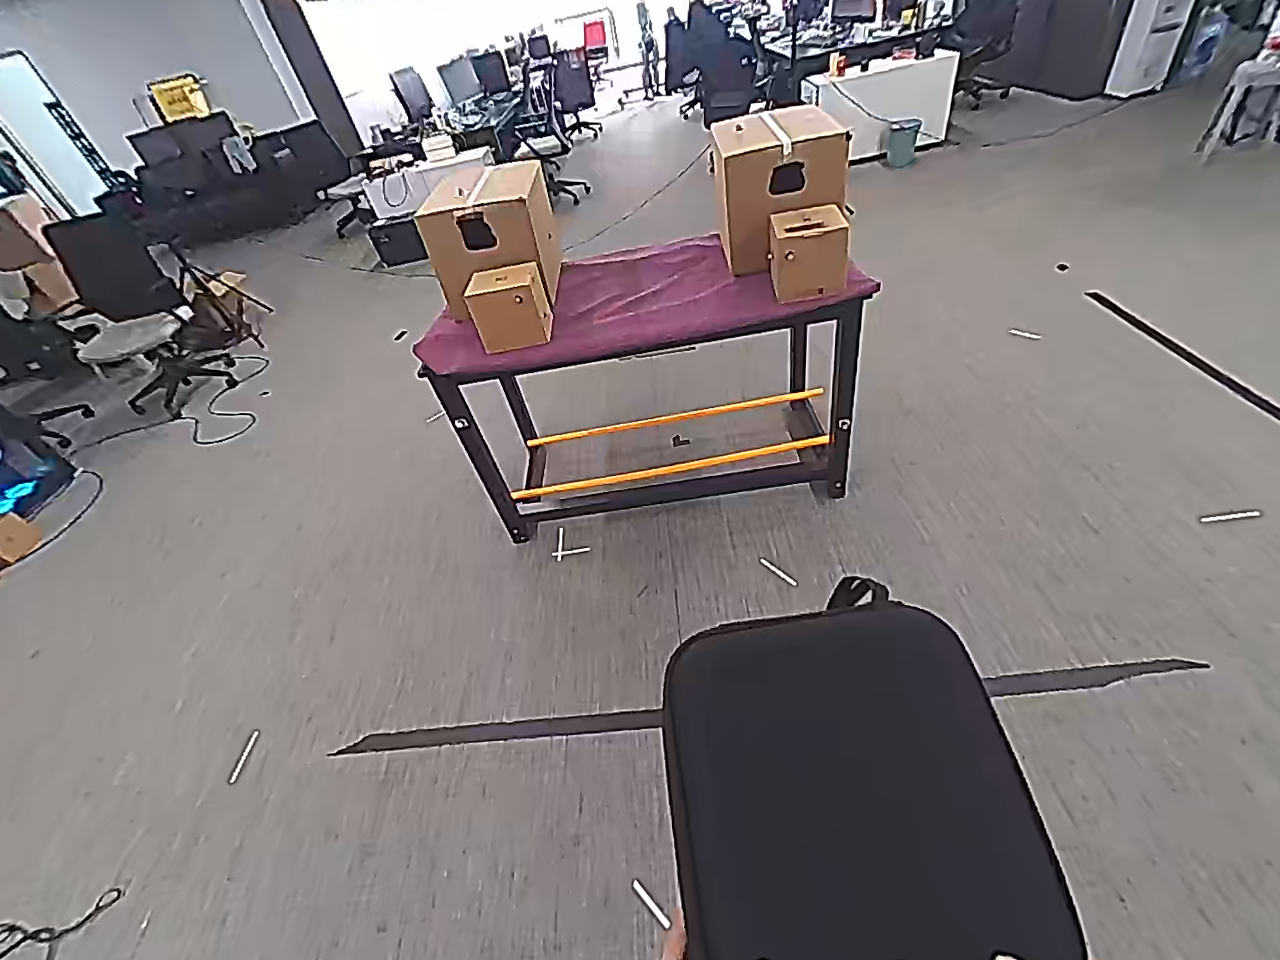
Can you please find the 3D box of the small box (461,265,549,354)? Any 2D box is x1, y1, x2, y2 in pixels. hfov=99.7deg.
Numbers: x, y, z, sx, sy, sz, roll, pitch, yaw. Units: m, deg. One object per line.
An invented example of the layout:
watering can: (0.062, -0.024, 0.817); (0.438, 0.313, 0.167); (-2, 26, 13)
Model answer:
small box: (-0.359, -0.460, 1.471); (0.179, 0.176, 0.168); (-10, 41, 3)

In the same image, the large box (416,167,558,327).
large box: (-0.443, -0.728, 1.677); (0.320, 0.320, 0.408); (-8, 44, 4)
